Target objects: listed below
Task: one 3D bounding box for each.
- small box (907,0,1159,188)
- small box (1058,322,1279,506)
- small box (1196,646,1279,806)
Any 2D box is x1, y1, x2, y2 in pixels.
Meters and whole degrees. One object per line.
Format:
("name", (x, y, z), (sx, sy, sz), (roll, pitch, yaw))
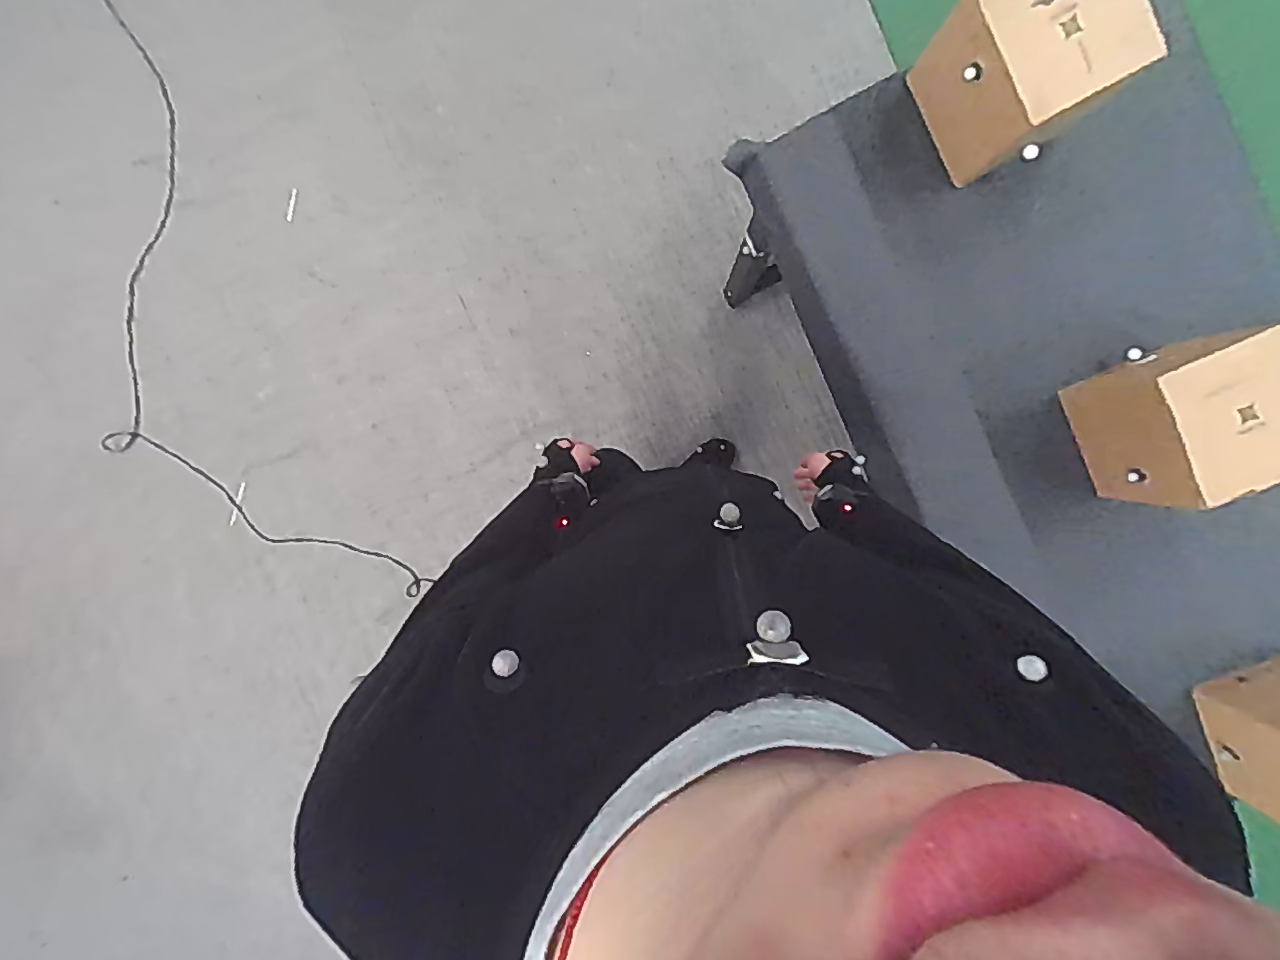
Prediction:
("small box", (0.484, -0.524, 0.696), (0.168, 0.176, 0.179), (-28, 94, 2))
("small box", (0.725, -0.083, 0.727), (0.168, 0.176, 0.179), (-26, 92, 1))
("small box", (0.952, 0.361, 0.751), (0.168, 0.176, 0.179), (-23, 93, 2))
